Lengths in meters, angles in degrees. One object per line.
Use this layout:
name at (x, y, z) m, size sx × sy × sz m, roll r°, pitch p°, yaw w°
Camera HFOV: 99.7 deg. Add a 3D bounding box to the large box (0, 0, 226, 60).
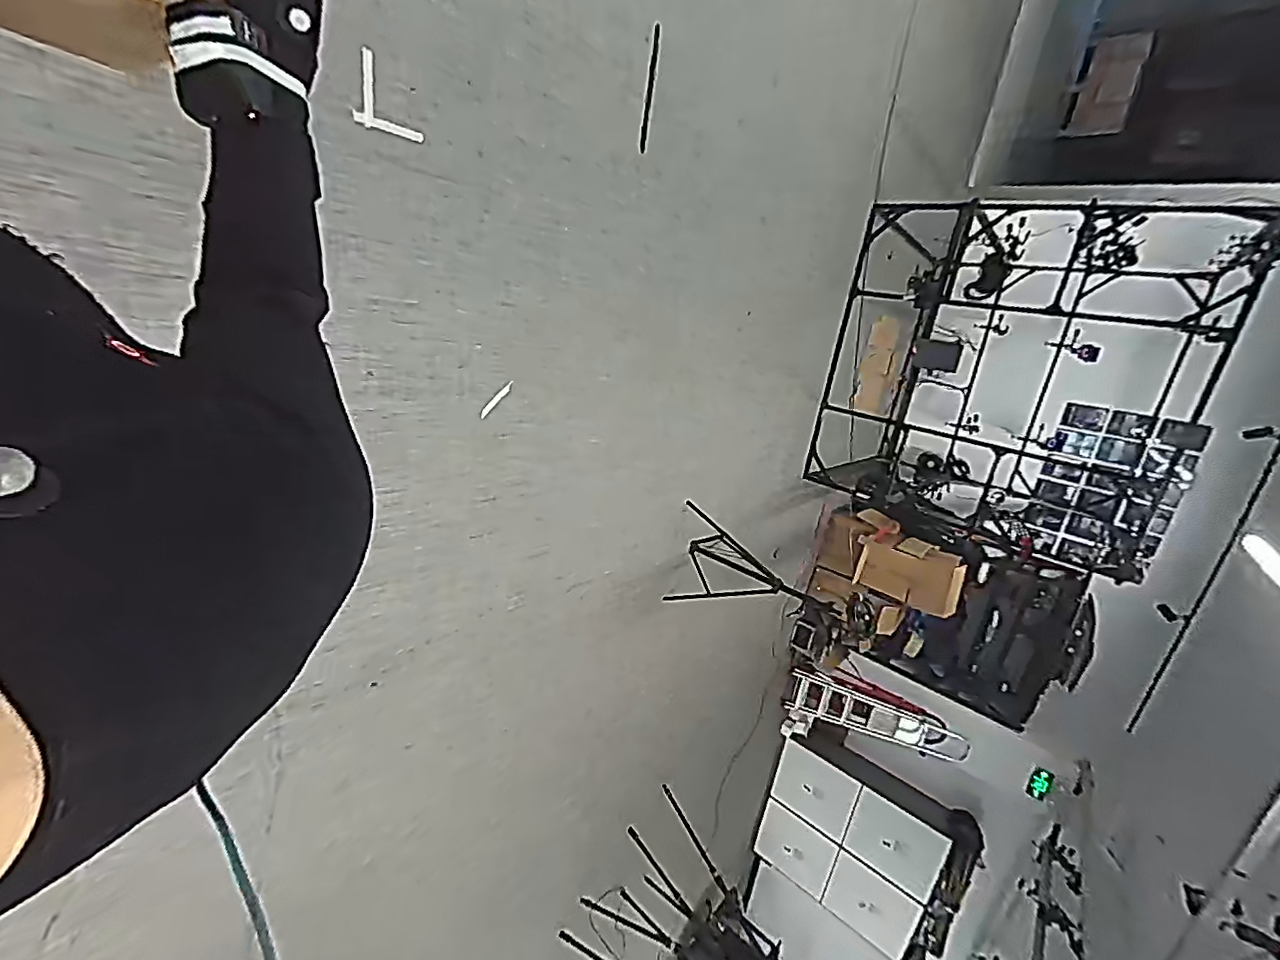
large box at (-0.515, -0.505, 0.286) m, size 0.408 × 0.320 × 0.320 m, roll -9°, pitch 118°, yaw -51°
